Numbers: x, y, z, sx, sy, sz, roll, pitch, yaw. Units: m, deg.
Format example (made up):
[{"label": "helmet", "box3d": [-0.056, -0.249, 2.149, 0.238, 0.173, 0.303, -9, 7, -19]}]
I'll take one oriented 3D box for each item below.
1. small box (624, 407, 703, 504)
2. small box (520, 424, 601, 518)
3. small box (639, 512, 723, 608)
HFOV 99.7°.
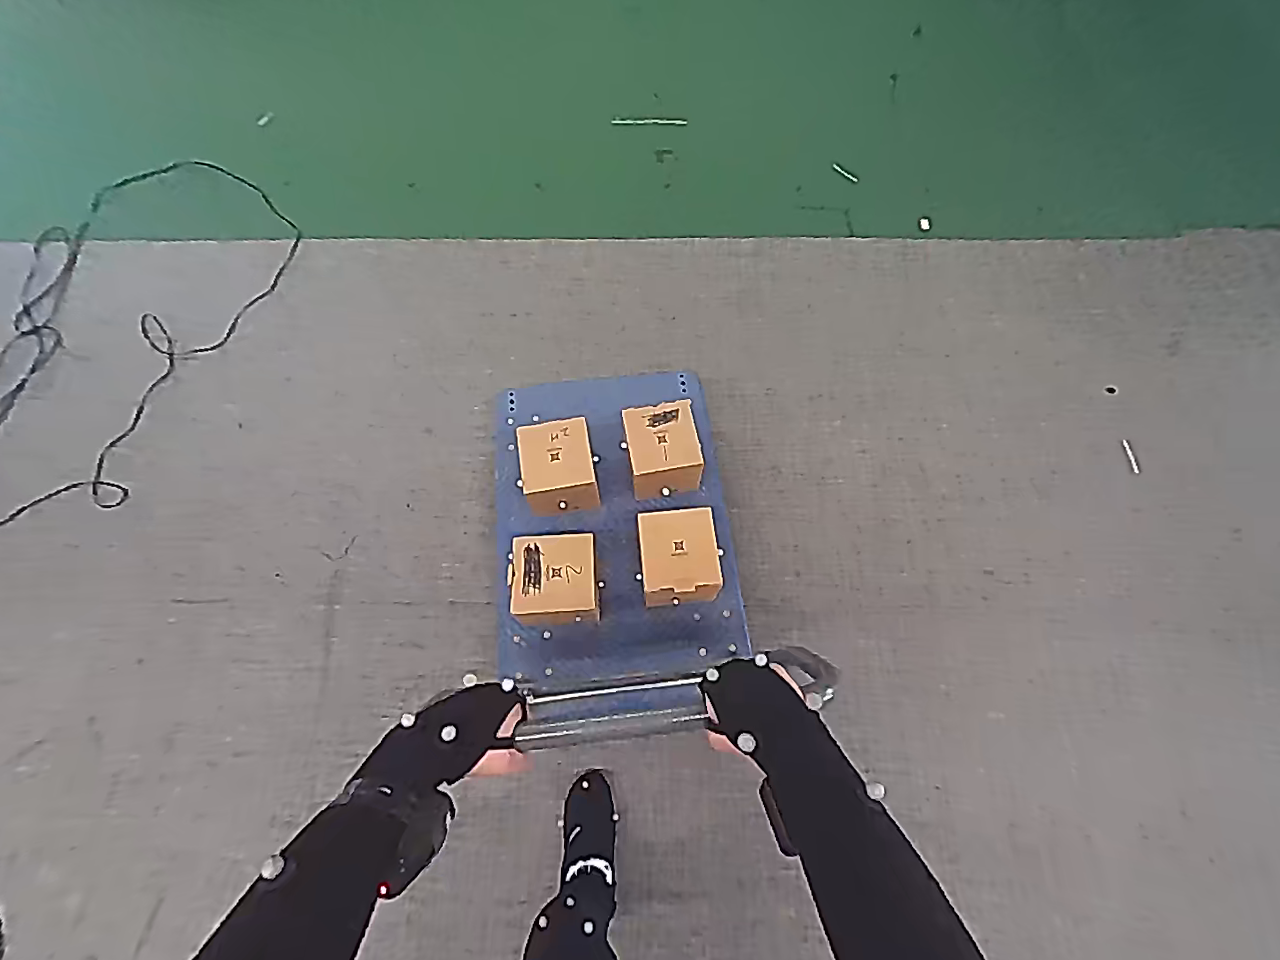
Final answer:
[{"label": "small box", "box3d": [0.054, -0.059, 1.356, 0.168, 0.176, 0.179, -10, 68, -3]}, {"label": "small box", "box3d": [-0.193, -0.014, 1.340, 0.168, 0.176, 0.179, -9, 67, -4]}, {"label": "small box", "box3d": [0.087, 0.188, 1.250, 0.168, 0.176, 0.179, -6, 67, -2]}]
